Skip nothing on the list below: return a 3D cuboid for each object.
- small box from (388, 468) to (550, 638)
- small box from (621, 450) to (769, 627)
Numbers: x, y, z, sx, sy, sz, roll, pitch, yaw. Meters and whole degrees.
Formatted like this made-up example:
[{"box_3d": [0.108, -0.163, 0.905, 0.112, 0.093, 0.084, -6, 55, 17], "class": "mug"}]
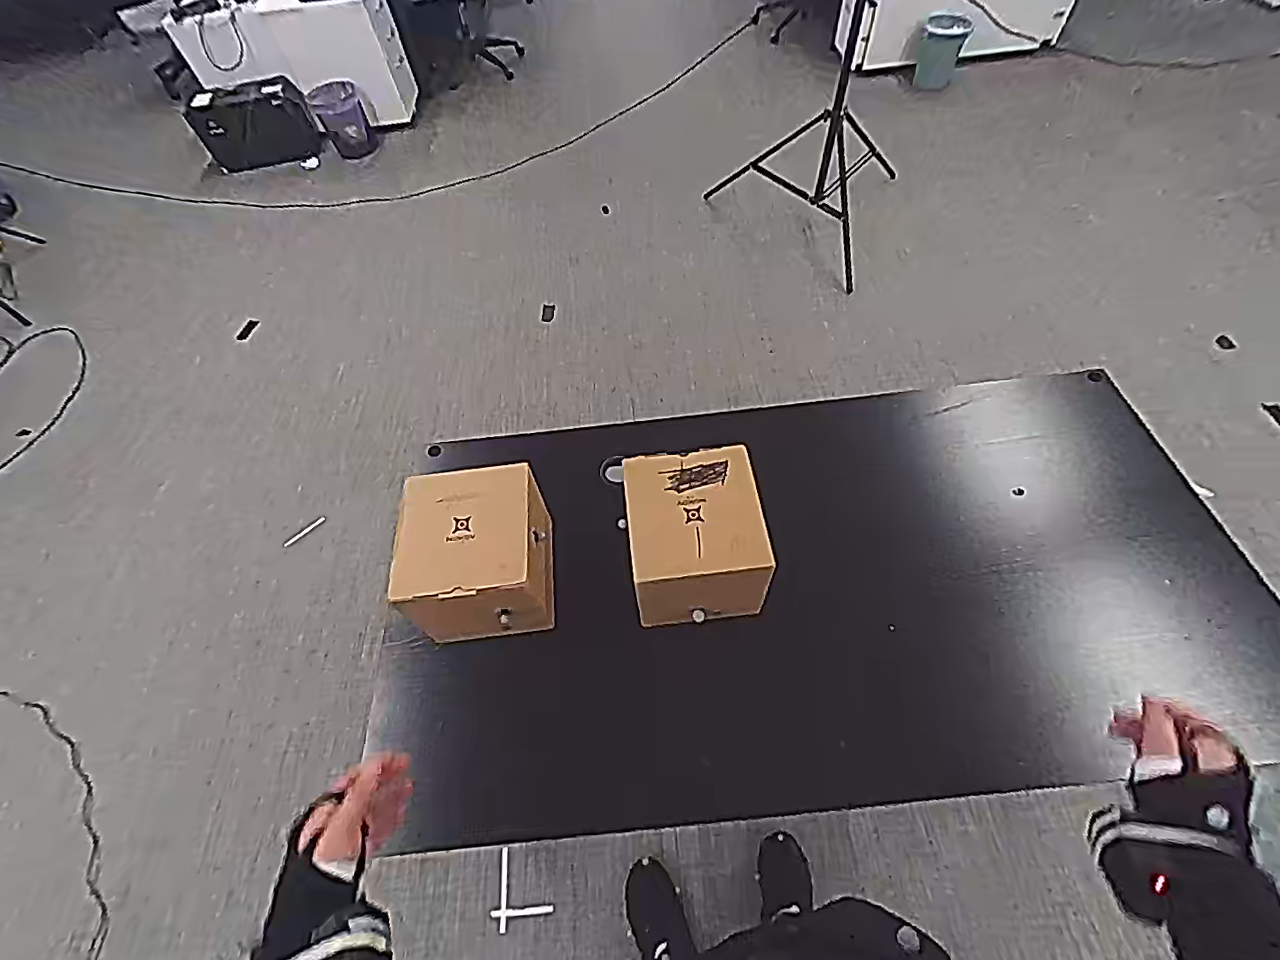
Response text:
[{"box_3d": [-0.220, 0.108, 0.744, 0.168, 0.176, 0.179, -7, 56, -2], "class": "small box"}, {"box_3d": [0.066, 0.084, 0.736, 0.168, 0.176, 0.179, -7, 58, 0], "class": "small box"}]
